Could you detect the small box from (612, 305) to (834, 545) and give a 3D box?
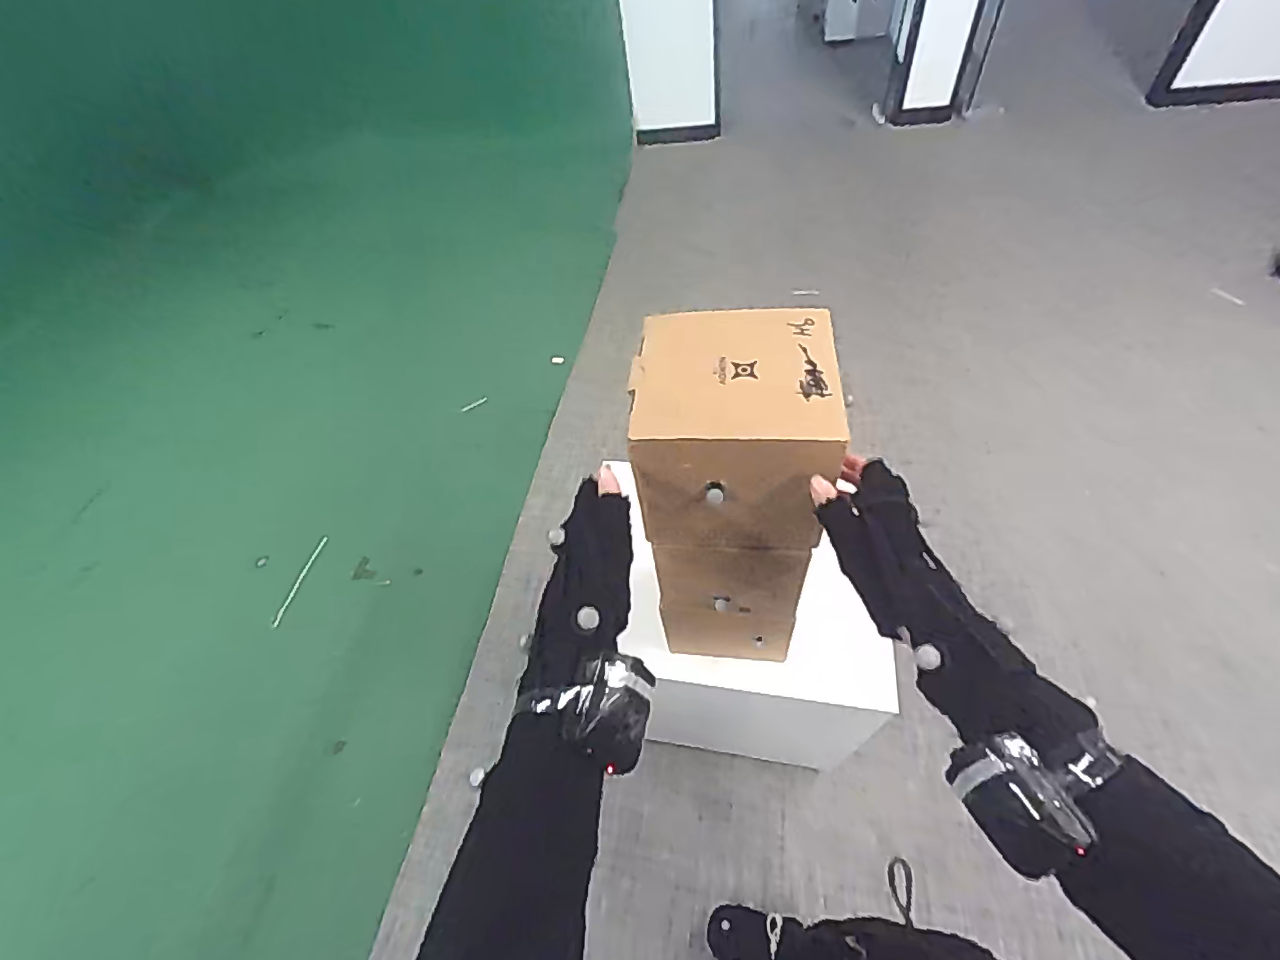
[{"bbox_3d":[0.083,-0.047,0.528,0.179,0.176,0.168,0,54,10],"label":"small box"}]

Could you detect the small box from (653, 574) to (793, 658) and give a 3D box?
[{"bbox_3d":[0.124,0.150,0.788,0.179,0.176,0.168,0,54,12],"label":"small box"}]

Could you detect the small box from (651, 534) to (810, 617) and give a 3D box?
[{"bbox_3d":[0.107,0.048,0.660,0.168,0.176,0.179,0,52,9],"label":"small box"}]
